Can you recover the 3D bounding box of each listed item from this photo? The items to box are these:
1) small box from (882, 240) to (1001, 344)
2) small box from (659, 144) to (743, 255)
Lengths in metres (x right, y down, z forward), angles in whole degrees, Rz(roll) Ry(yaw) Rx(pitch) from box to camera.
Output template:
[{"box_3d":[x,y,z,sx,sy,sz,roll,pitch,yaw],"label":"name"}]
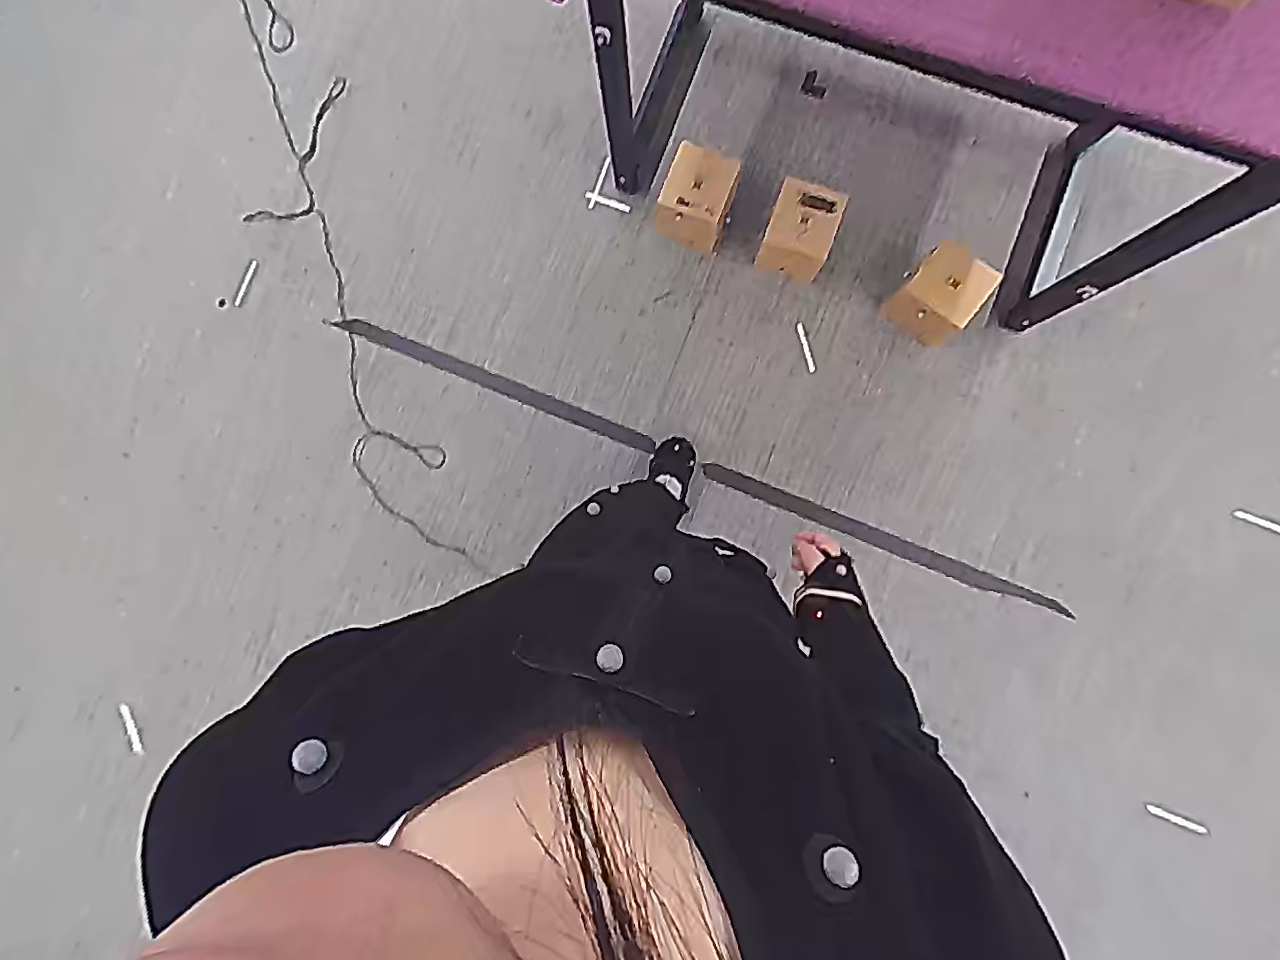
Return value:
[{"box_3d":[0.772,-0.475,1.403,0.179,0.176,0.168,38,90,5],"label":"small box"},{"box_3d":[0.155,-0.742,1.446,0.168,0.176,0.179,23,87,4],"label":"small box"}]
